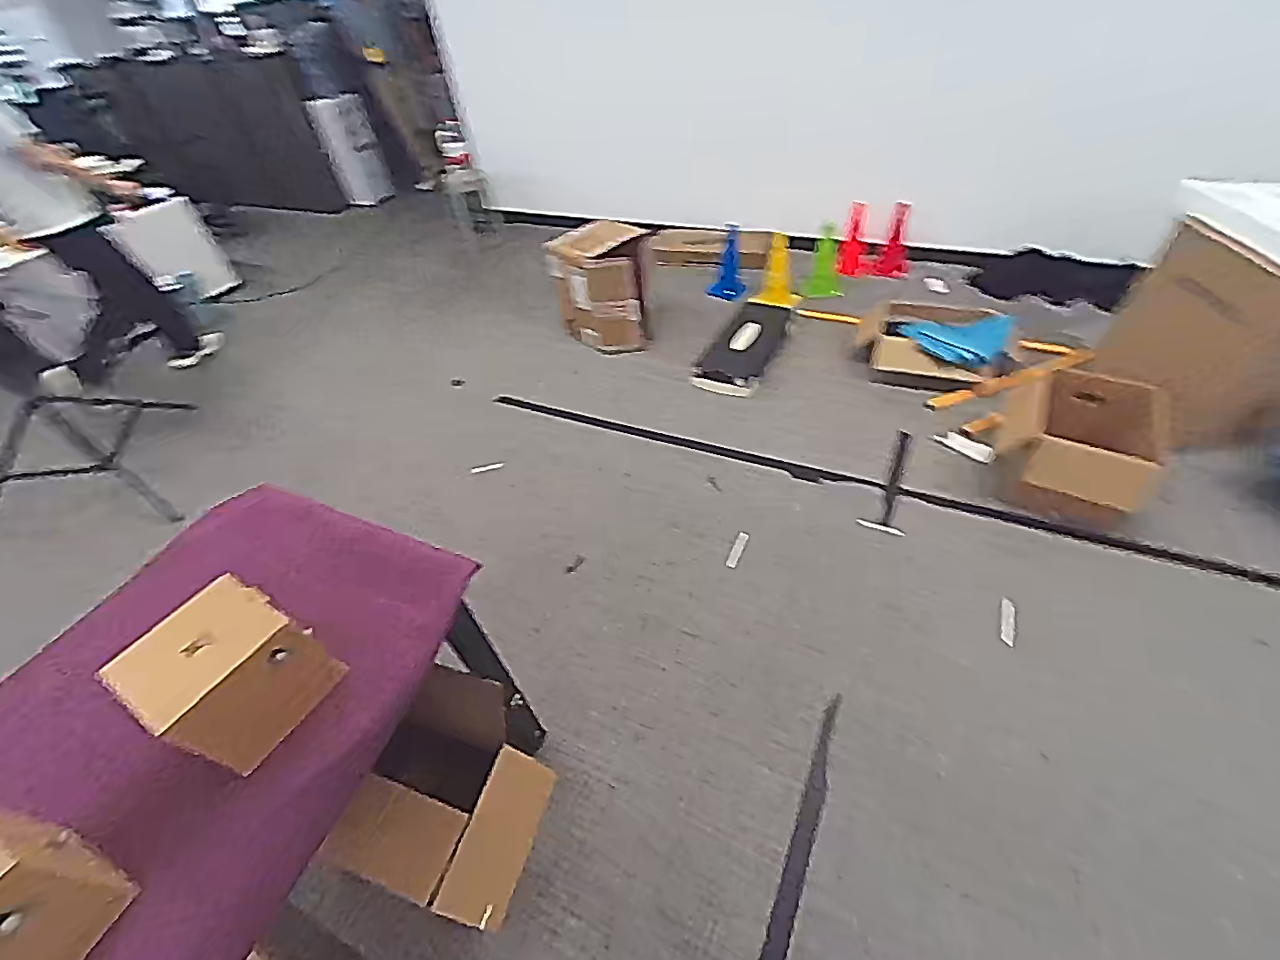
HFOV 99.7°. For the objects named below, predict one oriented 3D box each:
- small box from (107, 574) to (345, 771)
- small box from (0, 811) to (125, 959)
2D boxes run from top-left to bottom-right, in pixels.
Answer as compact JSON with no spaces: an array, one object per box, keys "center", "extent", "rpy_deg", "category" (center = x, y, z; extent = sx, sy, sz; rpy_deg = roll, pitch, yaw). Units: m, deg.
[{"center":[-0.568,0.273,0.766],"extent":[0.168,0.176,0.179],"rpy_deg":[20,51,25],"category":"small box"},{"center":[-0.719,0.481,0.577],"extent":[0.168,0.176,0.179],"rpy_deg":[12,48,22],"category":"small box"}]
